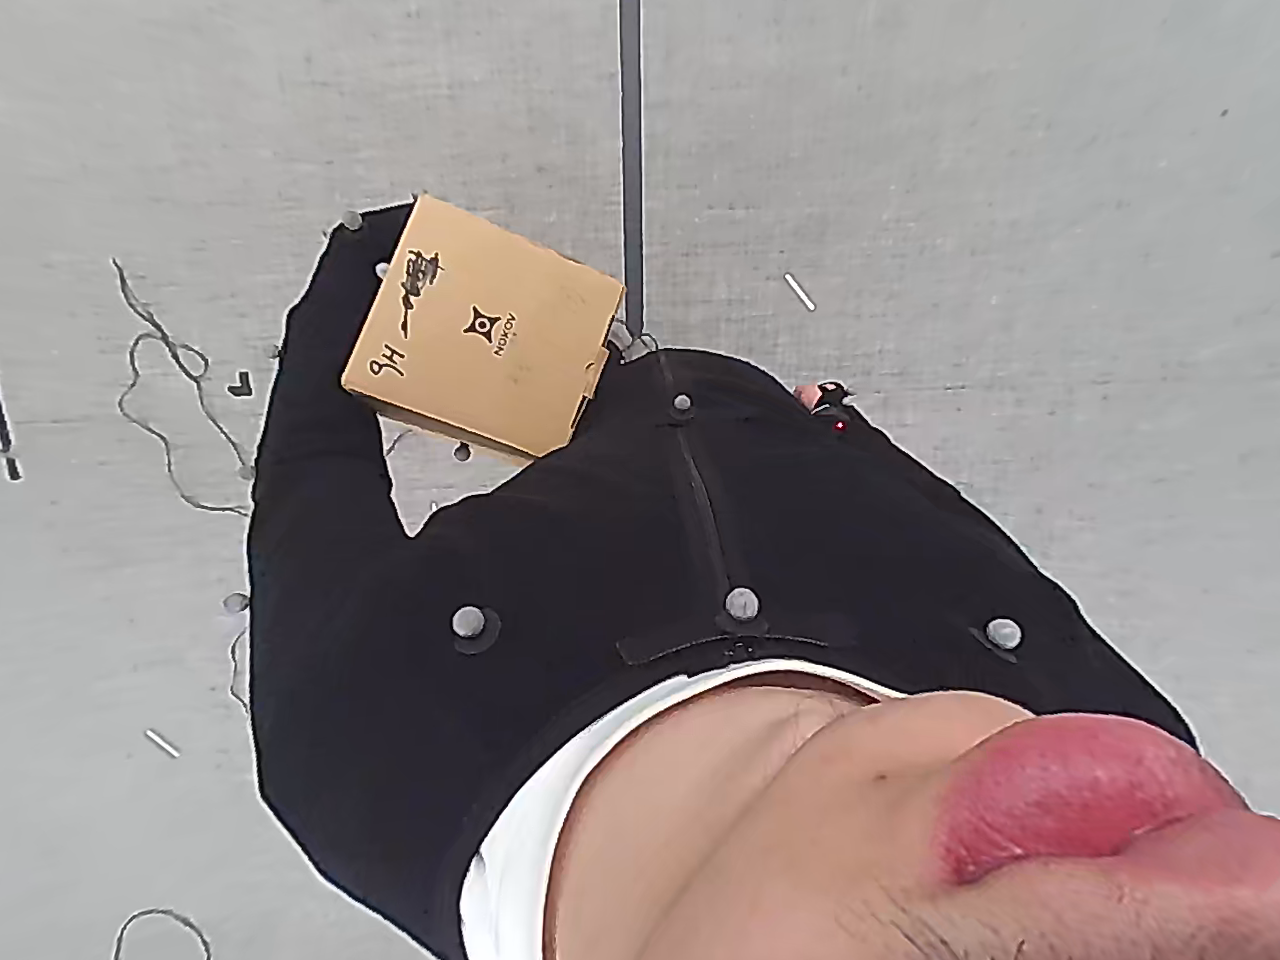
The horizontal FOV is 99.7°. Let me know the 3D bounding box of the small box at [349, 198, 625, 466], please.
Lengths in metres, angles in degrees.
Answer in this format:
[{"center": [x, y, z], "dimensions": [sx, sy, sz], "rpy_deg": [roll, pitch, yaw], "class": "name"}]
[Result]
[{"center": [-0.137, -0.117, 0.514], "dimensions": [0.179, 0.176, 0.168], "rpy_deg": [20, 82, -14], "class": "small box"}]
